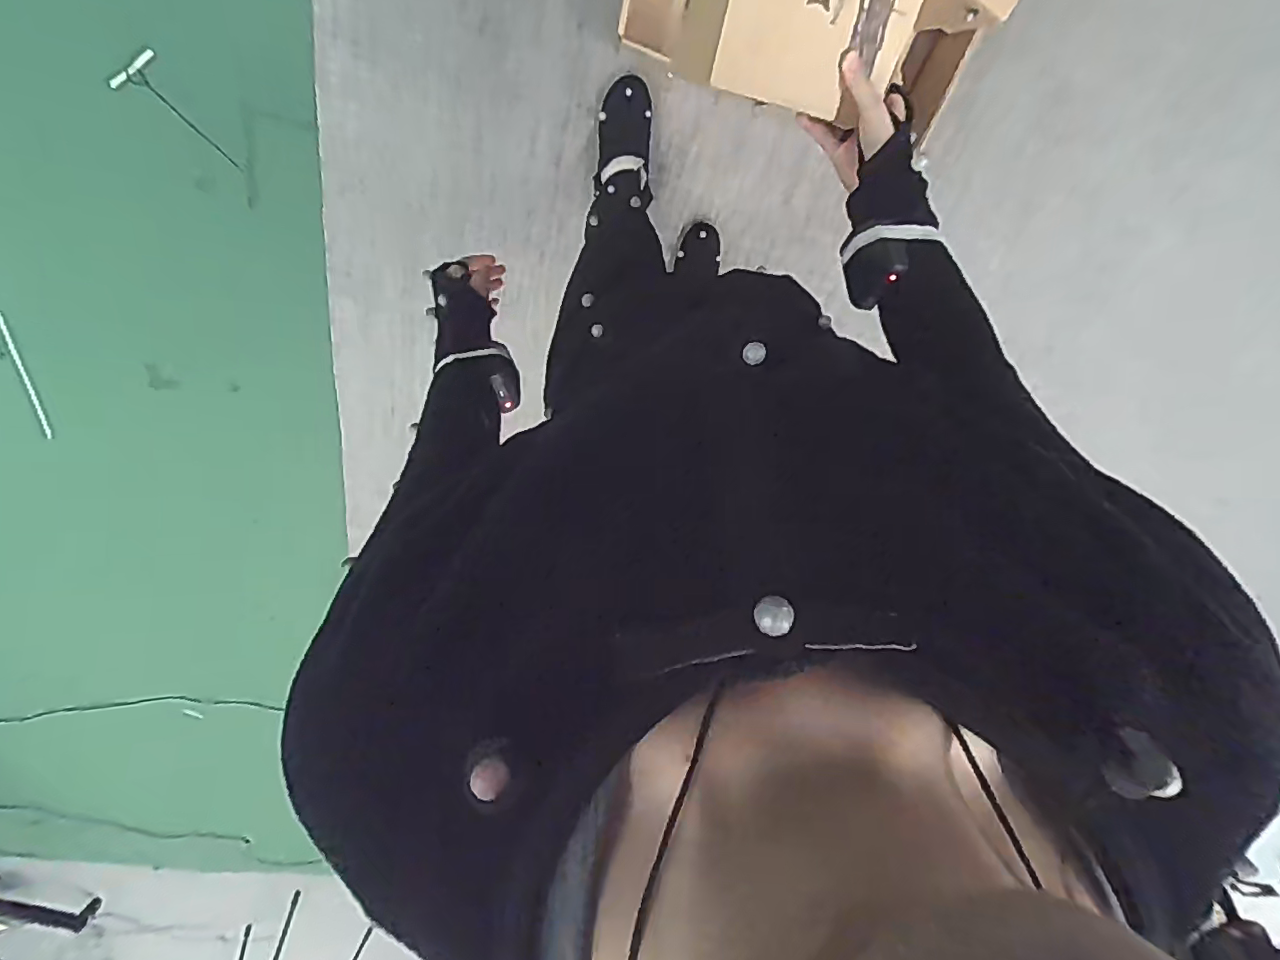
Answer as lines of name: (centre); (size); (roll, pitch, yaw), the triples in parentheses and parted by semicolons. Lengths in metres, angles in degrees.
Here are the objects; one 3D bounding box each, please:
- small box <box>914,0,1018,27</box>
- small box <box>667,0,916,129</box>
small box: (0.486, -0.801, 0.788); (0.179, 0.176, 0.168); (22, 123, -18)
small box: (0.141, -0.463, 0.516); (0.179, 0.176, 0.168); (6, 128, -16)
